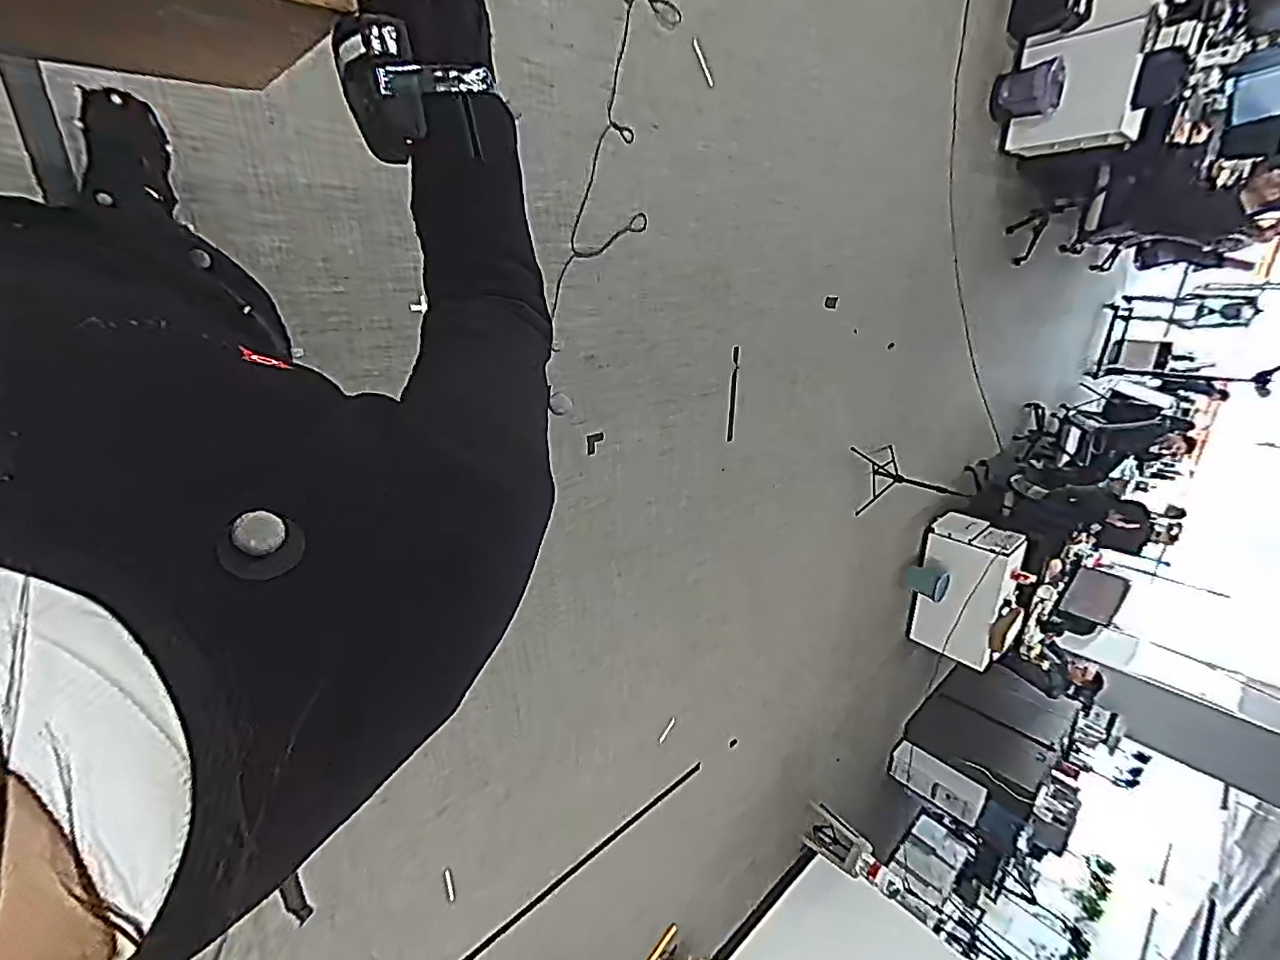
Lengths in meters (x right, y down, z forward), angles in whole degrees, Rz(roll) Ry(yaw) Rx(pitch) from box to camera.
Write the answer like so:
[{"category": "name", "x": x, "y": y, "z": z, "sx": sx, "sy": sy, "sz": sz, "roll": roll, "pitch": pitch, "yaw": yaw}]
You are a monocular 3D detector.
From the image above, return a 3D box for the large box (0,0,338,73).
[{"category": "large box", "x": -0.412, "y": -0.409, "z": 0.227, "sx": 0.408, "sy": 0.320, "sz": 0.320, "roll": -20, "pitch": 125, "yaw": -37}]
